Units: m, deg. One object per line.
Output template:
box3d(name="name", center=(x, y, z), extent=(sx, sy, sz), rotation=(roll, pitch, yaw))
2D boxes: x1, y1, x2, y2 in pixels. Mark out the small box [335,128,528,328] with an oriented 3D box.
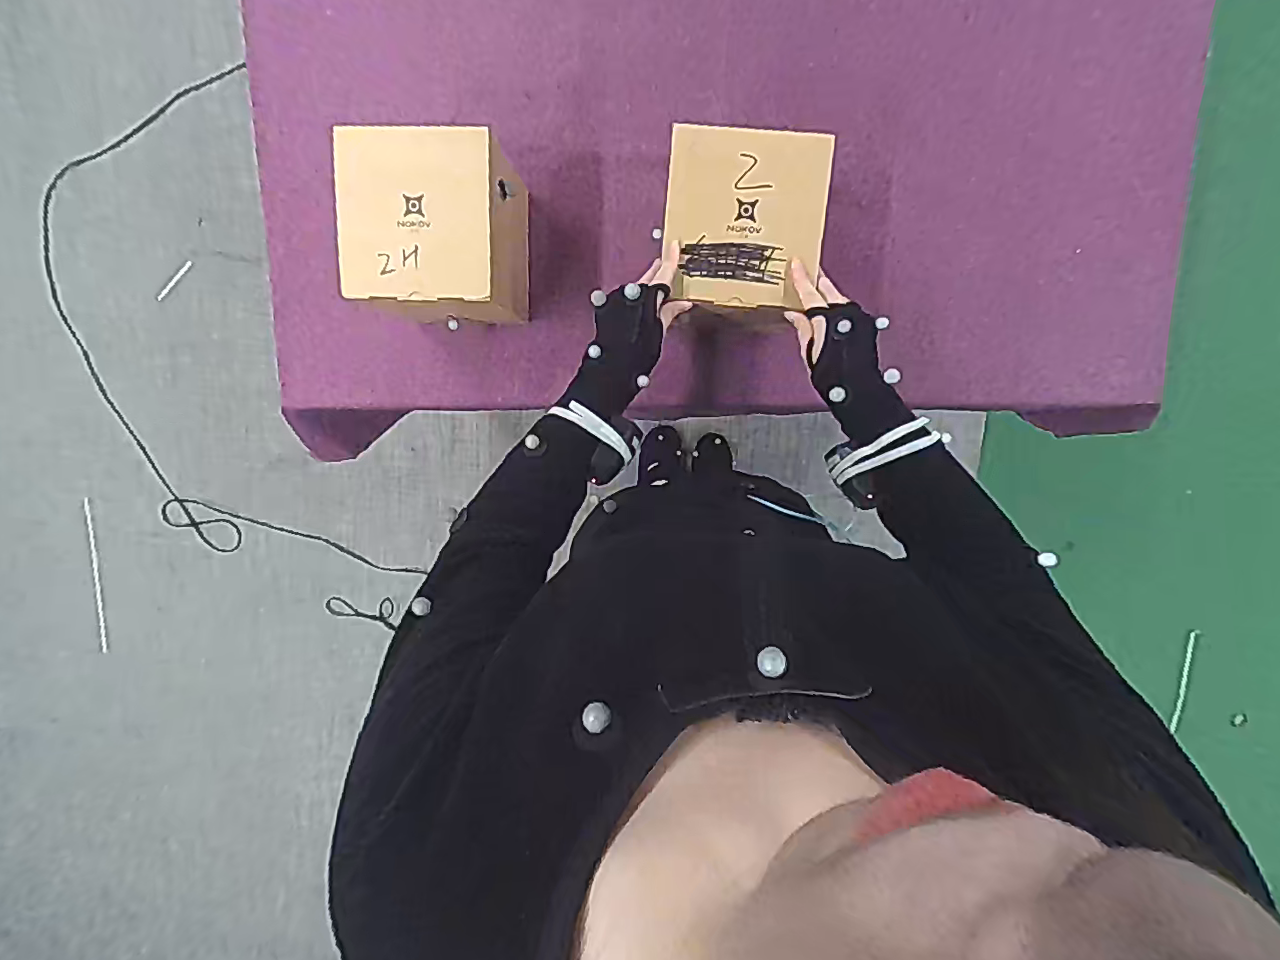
box3d(name="small box", center=(-0.235, -0.287, 0.648), extent=(0.168, 0.176, 0.179), rotation=(1, 98, 2))
